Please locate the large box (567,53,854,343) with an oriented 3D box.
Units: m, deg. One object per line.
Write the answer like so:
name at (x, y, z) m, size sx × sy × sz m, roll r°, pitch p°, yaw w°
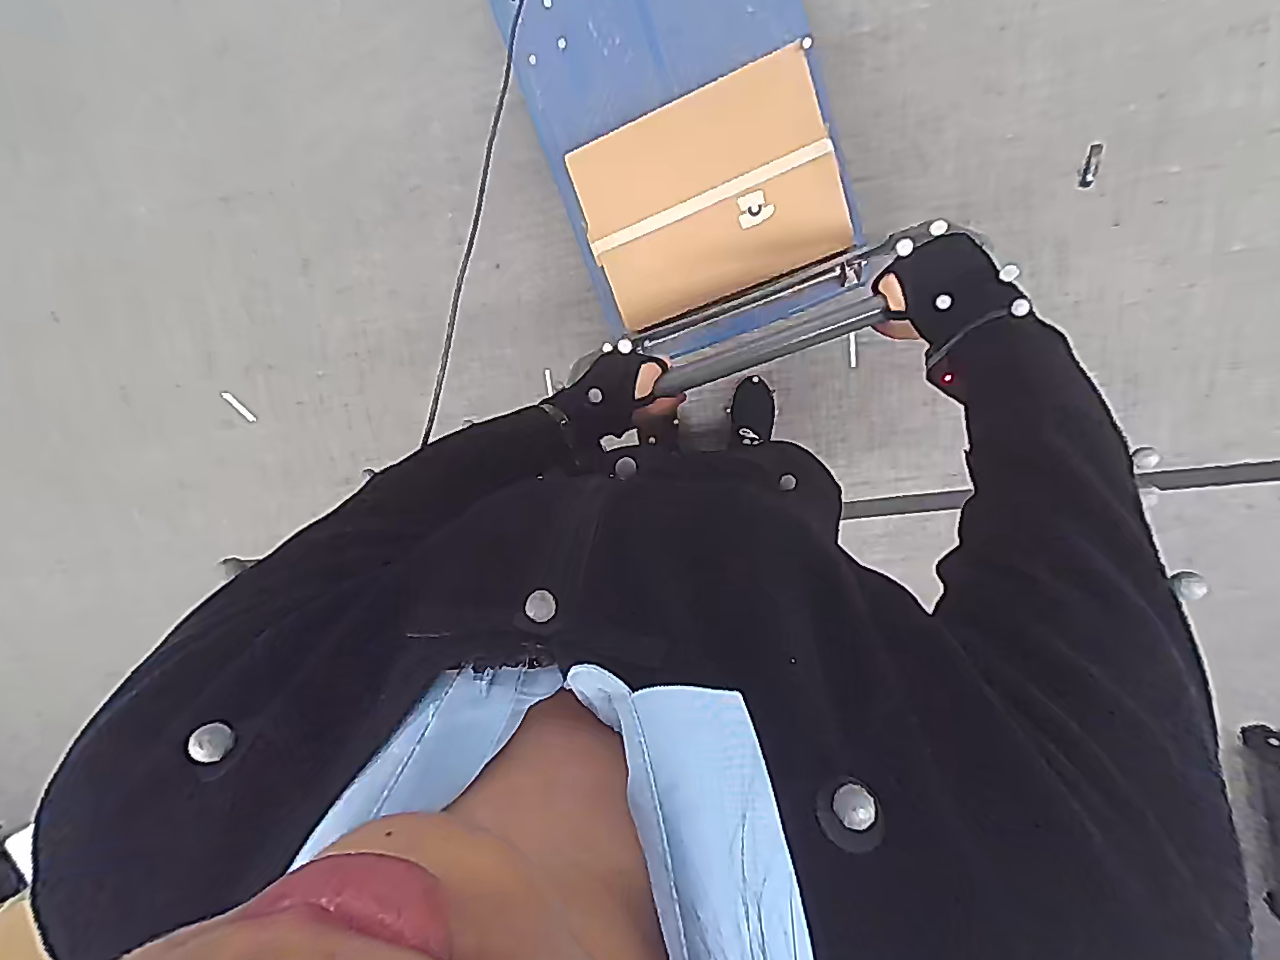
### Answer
large box at (0.131, -0.478, 1.027) m, size 0.408 × 0.320 × 0.320 m, roll -18°, pitch 101°, yaw 13°
